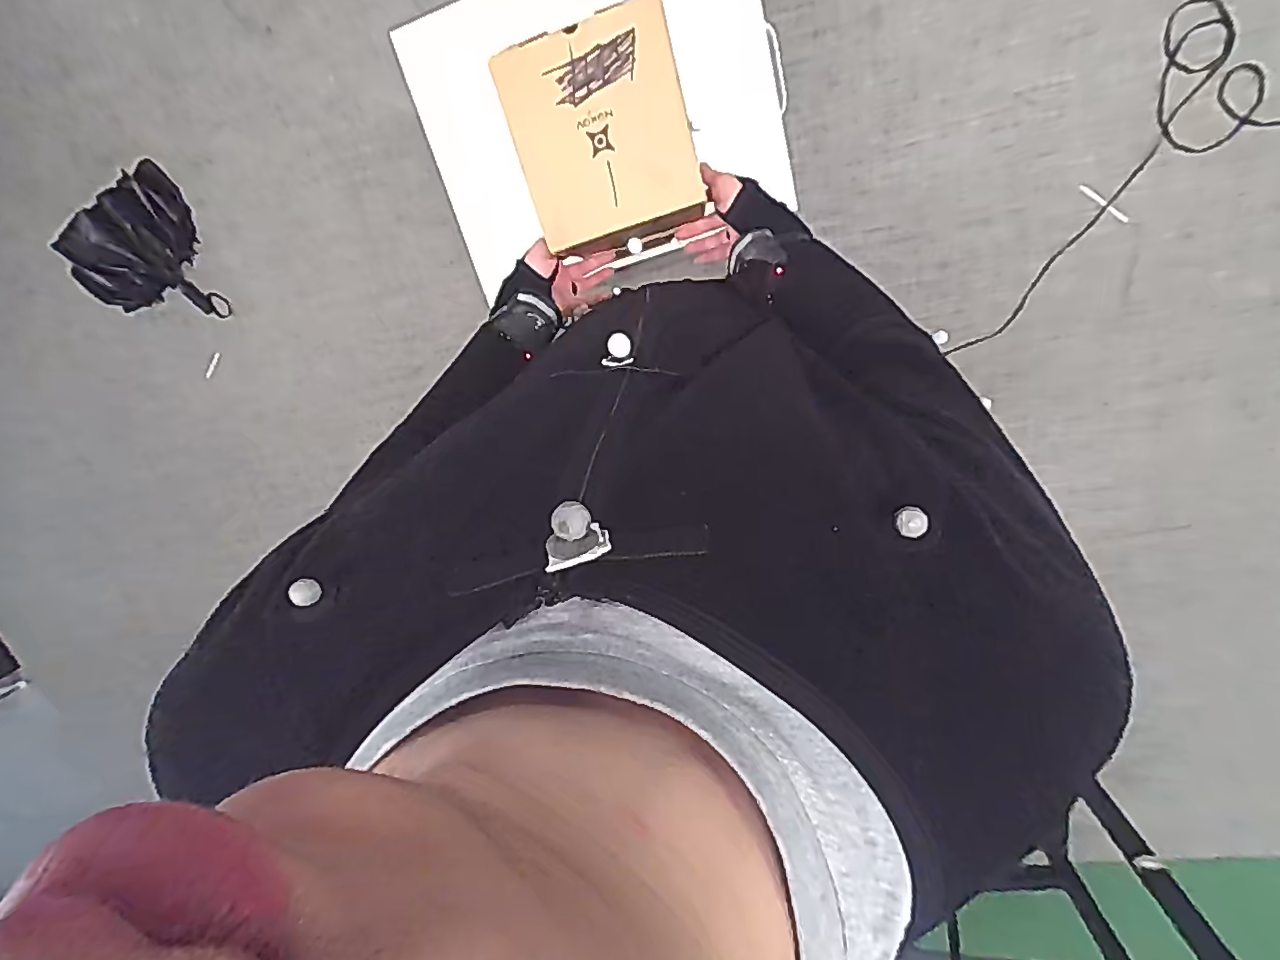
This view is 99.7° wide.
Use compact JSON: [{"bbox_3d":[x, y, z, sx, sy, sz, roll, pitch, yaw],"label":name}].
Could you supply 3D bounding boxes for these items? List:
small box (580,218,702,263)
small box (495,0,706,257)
[{"bbox_3d":[-0.012,-0.409,0.740,0.168,0.176,0.179,-14,107,11],"label":"small box"},{"bbox_3d":[-0.029,-0.355,0.586,0.168,0.176,0.179,-13,109,11],"label":"small box"}]
